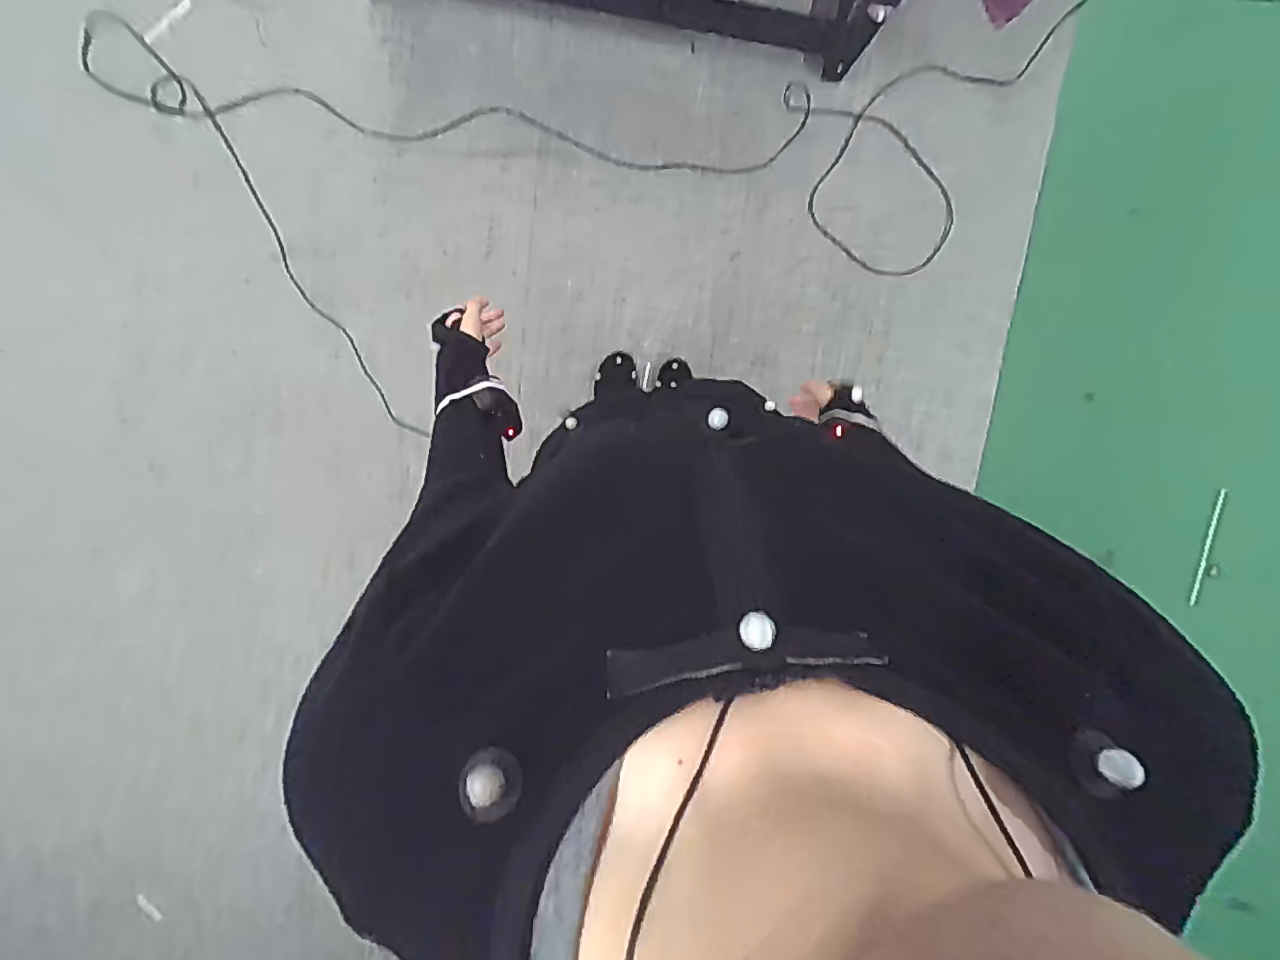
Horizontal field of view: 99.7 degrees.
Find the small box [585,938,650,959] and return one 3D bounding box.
[{"bbox_3d":[-0.058,1.372,1.444,0.179,0.176,0.168,1,98,-5],"label":"small box"}]

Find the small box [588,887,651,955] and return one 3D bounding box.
[{"bbox_3d":[-0.065,1.355,1.608,0.179,0.176,0.168,1,98,-5],"label":"small box"}]
